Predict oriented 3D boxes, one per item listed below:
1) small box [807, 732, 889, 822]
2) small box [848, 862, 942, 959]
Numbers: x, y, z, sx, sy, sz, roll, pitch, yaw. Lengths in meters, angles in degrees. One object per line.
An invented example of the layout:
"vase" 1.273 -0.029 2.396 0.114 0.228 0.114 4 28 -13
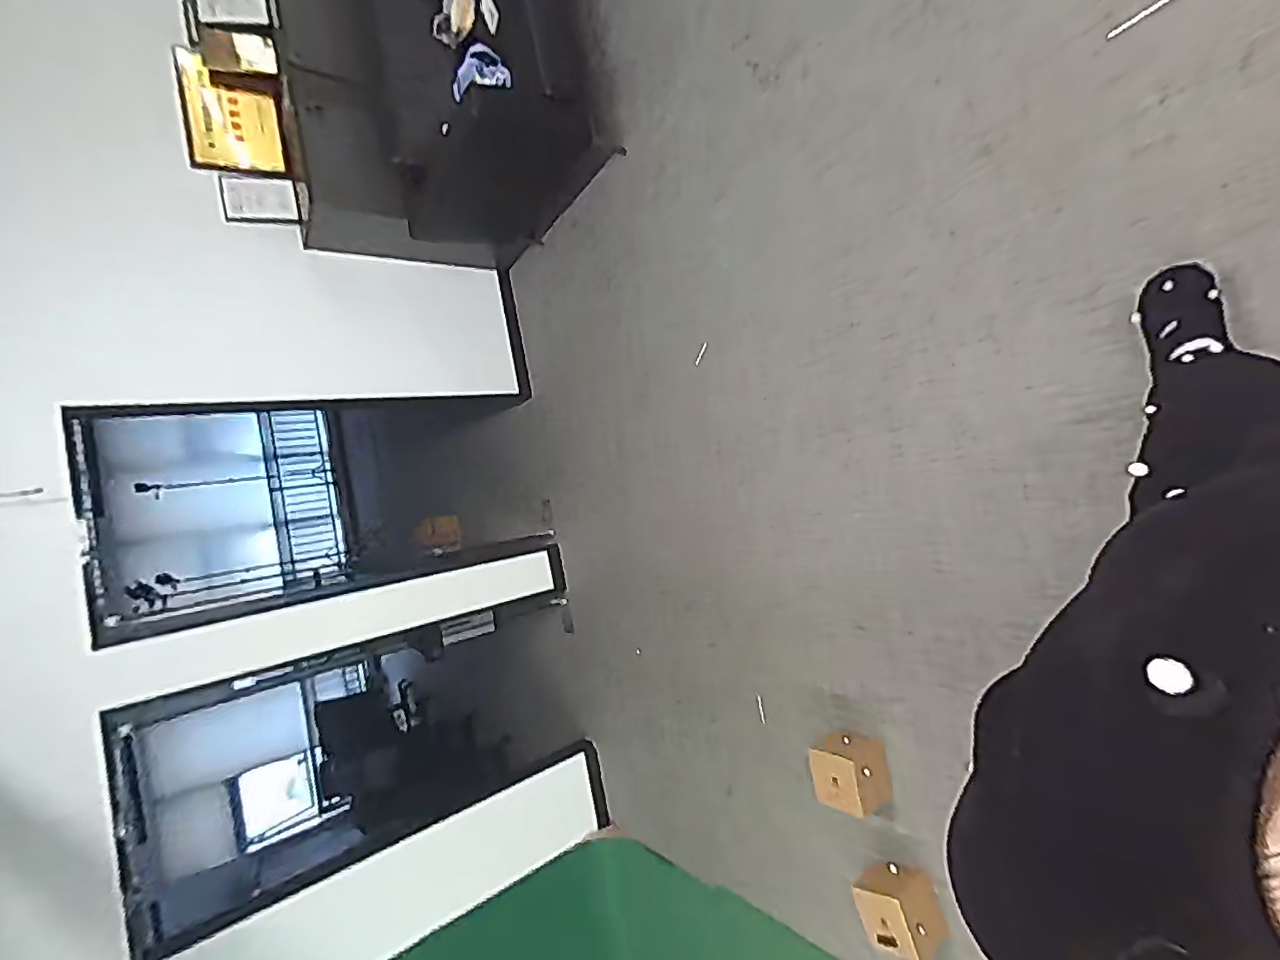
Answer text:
"small box" 0.657 0.926 1.707 0.168 0.176 0.179 -13 86 54
"small box" 0.770 1.298 1.624 0.168 0.176 0.179 -33 69 50
